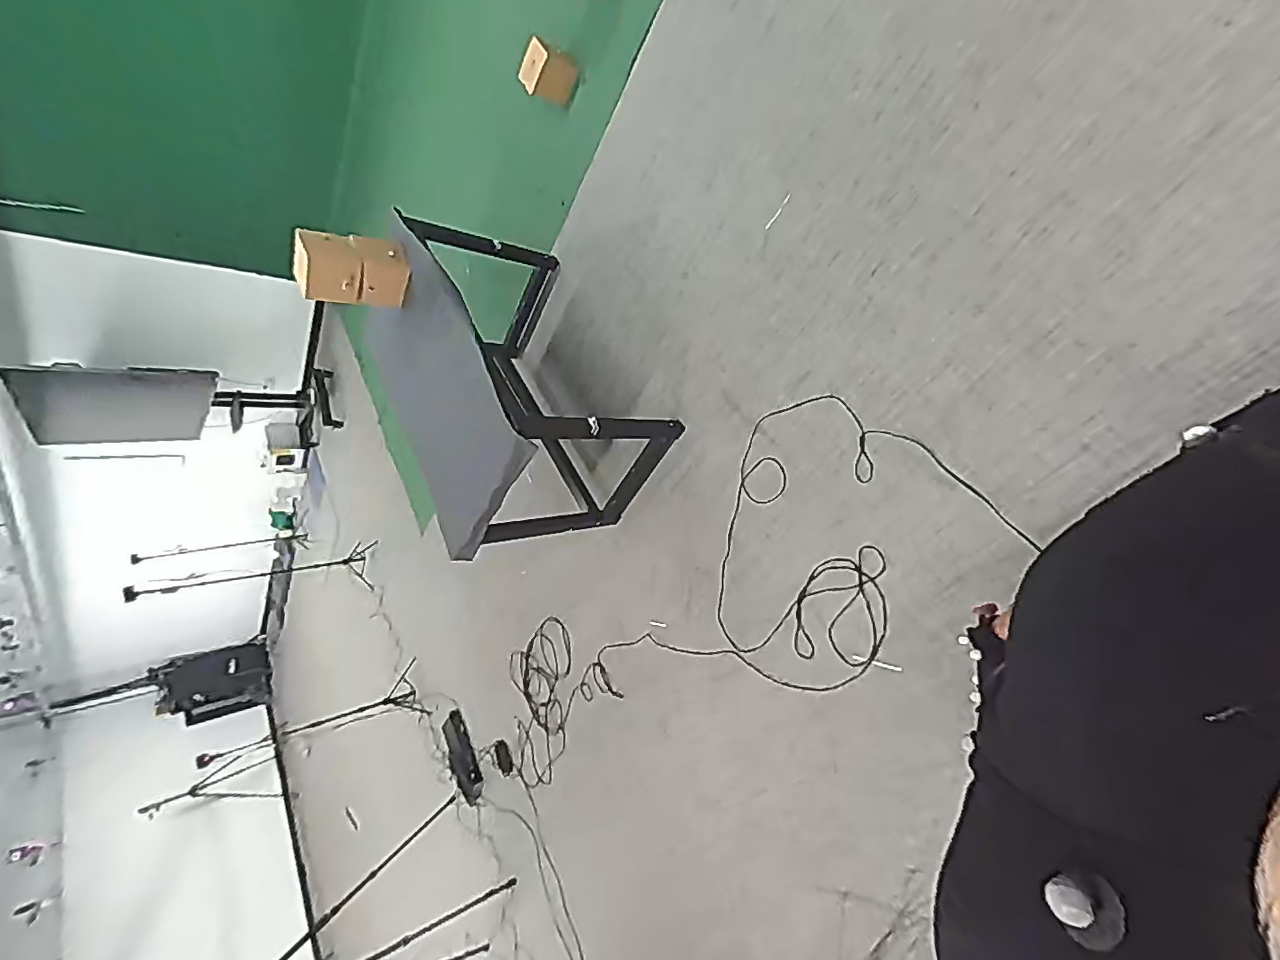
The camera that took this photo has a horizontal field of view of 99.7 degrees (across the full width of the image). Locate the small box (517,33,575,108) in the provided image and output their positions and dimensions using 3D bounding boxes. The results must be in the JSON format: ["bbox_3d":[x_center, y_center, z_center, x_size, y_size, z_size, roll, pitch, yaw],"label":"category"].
[{"bbox_3d":[-0.407,-1.788,2.369,0.179,0.176,0.168,-47,60,38],"label":"small box"}]

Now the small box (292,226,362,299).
[{"bbox_3d":[-1.086,-0.746,1.872,0.179,0.176,0.168,53,132,27],"label":"small box"}]

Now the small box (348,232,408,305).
[{"bbox_3d":[-0.972,-0.768,1.985,0.179,0.176,0.168,-49,61,39],"label":"small box"}]
